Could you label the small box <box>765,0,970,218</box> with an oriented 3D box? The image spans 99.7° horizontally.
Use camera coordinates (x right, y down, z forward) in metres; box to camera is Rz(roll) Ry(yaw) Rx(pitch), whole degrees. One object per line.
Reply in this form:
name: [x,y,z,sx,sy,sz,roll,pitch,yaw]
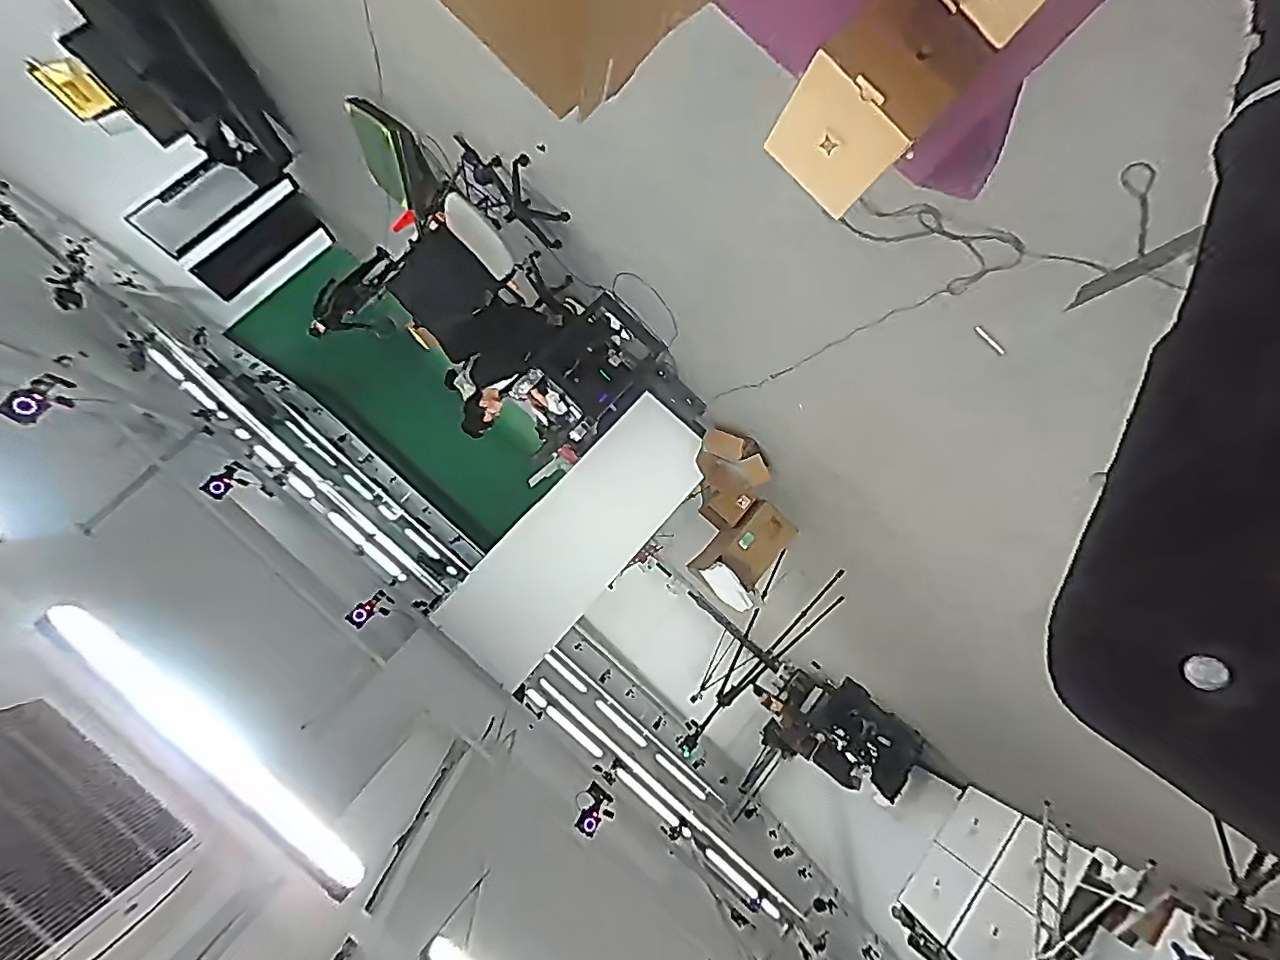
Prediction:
small box: [0.319,-0.529,0.774,0.168,0.176,0.179,43,167,-3]
